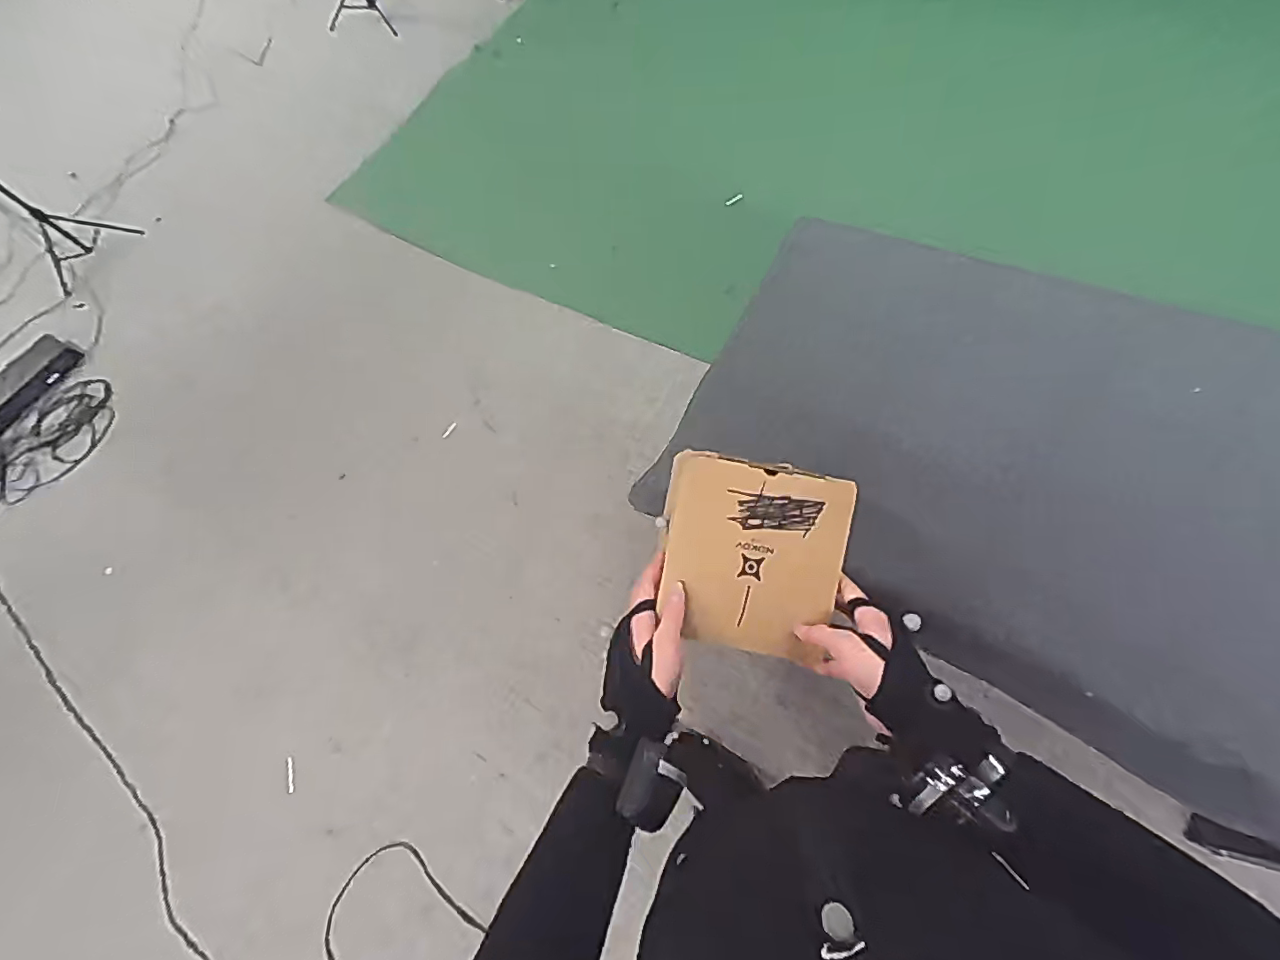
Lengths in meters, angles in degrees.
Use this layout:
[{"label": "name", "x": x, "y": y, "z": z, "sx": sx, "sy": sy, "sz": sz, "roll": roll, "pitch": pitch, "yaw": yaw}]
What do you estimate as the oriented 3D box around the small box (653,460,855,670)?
[{"label": "small box", "x": 0.109, "y": 0.079, "z": 0.594, "sx": 0.168, "sy": 0.176, "sz": 0.179, "roll": 12, "pitch": 92, "yaw": 0}]
